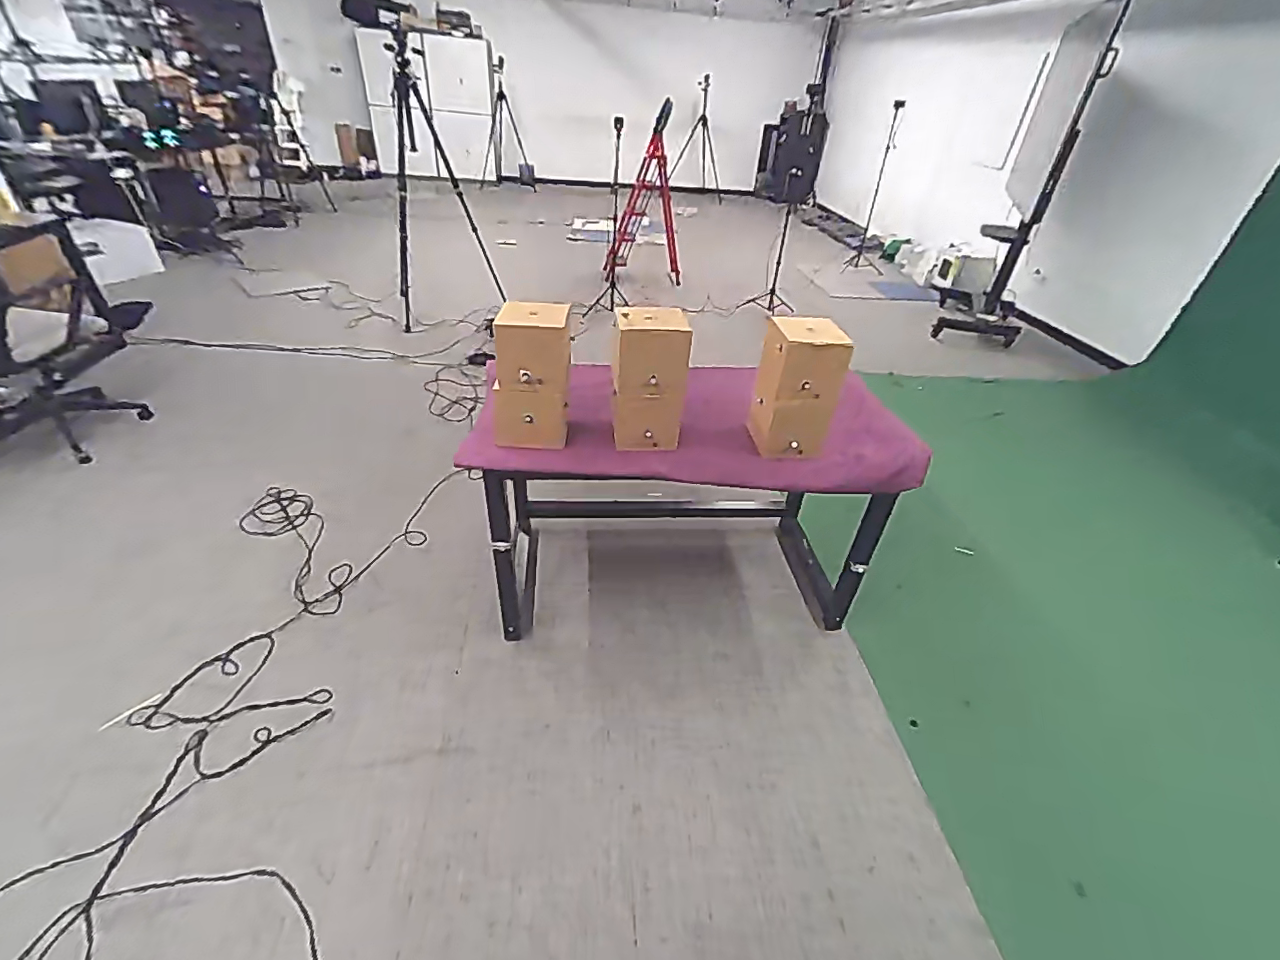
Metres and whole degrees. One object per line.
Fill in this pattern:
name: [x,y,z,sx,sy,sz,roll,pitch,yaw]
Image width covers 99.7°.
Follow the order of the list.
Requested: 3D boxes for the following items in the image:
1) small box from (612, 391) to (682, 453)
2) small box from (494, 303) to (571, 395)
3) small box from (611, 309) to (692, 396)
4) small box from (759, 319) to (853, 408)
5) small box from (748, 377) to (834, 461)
small box: [0.013,-0.191,1.472,0.168,0.176,0.179,-1,36,-7]
small box: [-0.261,-0.329,1.351,0.168,0.176,0.179,1,36,-3]
small box: [0.023,-0.323,1.376,0.179,0.176,0.168,0,35,-8]
small box: [0.419,-0.303,1.402,0.168,0.176,0.179,0,36,-6]
small box: [0.406,-0.169,1.493,0.168,0.176,0.179,0,37,-6]
